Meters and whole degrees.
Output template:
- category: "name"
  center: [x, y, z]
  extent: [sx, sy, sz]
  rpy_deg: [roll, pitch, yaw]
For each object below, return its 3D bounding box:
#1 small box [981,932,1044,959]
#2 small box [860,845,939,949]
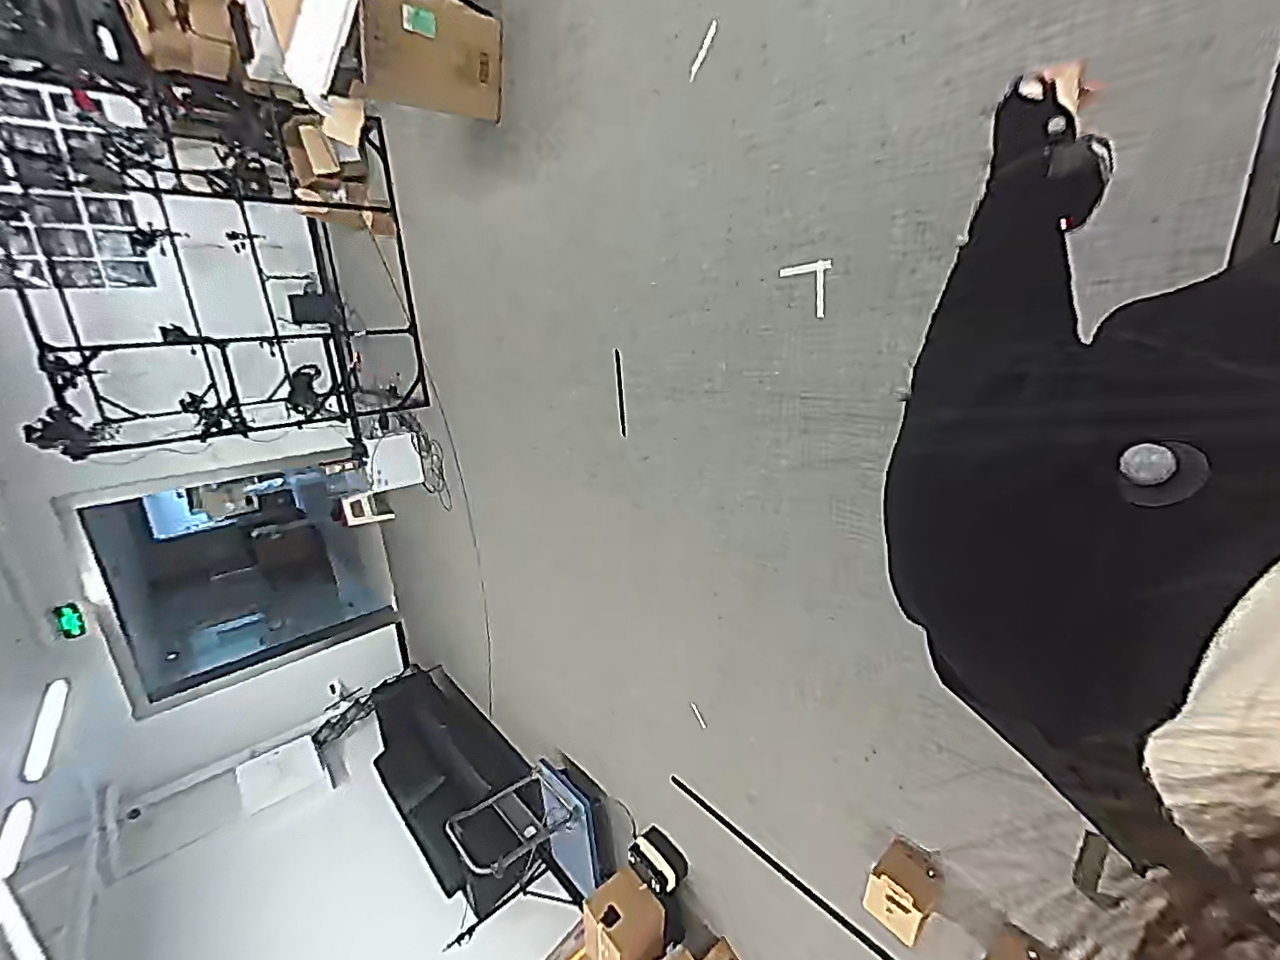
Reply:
- category: "small box"
  center: [1.065, 1.440, 1.530]
  extent: [0.179, 0.176, 0.168]
  rpy_deg: [23, 121, 46]
- category: "small box"
  center: [0.850, 1.351, 1.766]
  extent: [0.168, 0.176, 0.179]
  rpy_deg: [24, 122, 45]
